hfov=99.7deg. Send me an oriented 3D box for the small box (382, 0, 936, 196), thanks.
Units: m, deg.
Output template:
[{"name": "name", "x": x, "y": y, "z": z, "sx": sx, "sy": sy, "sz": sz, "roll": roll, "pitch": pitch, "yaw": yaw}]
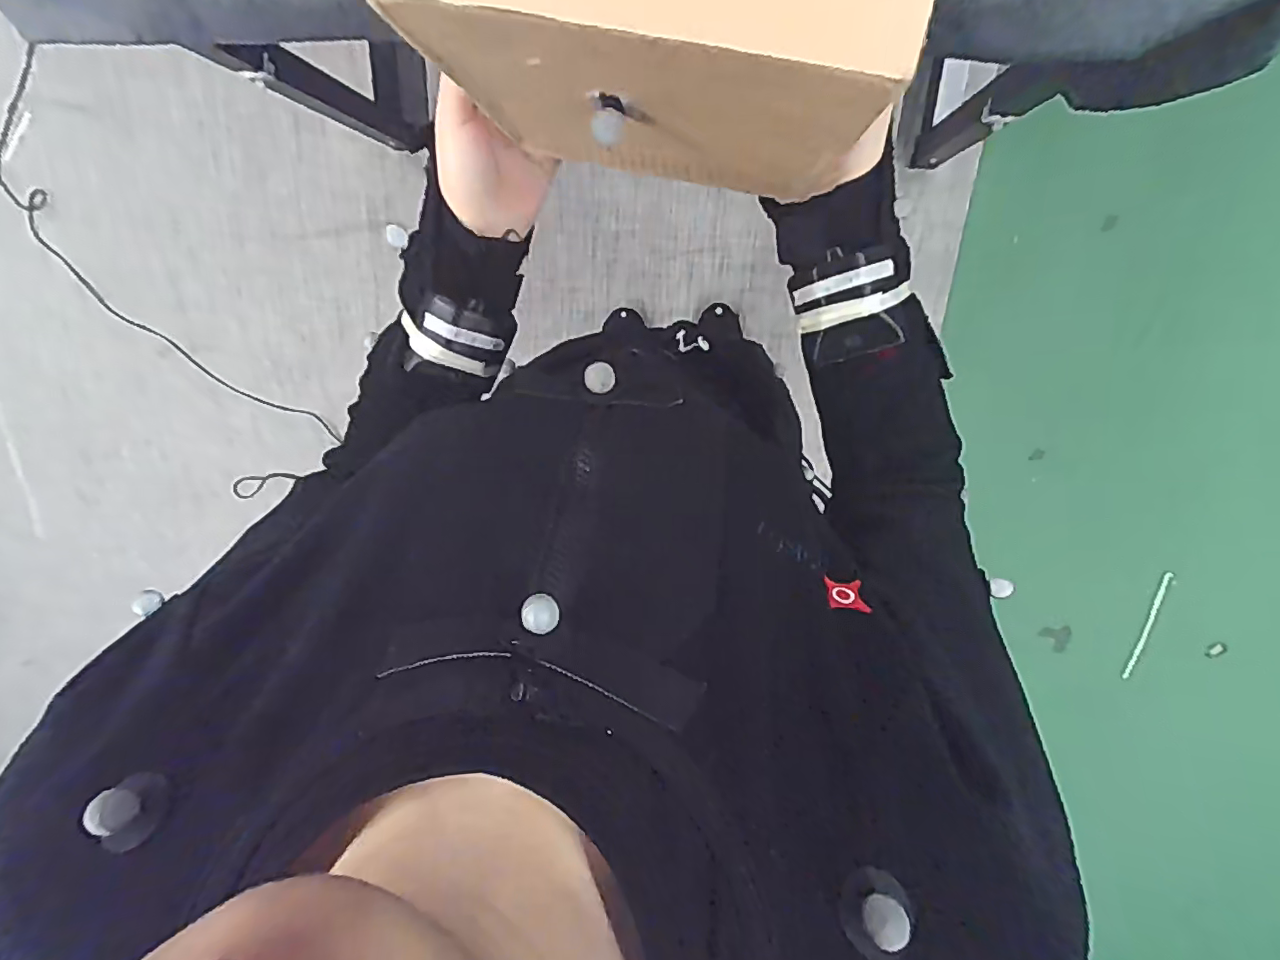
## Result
[{"name": "small box", "x": 0.021, "y": -0.232, "z": 0.221, "sx": 0.179, "sy": 0.176, "sz": 0.168, "roll": 11, "pitch": 107, "yaw": 3}]
